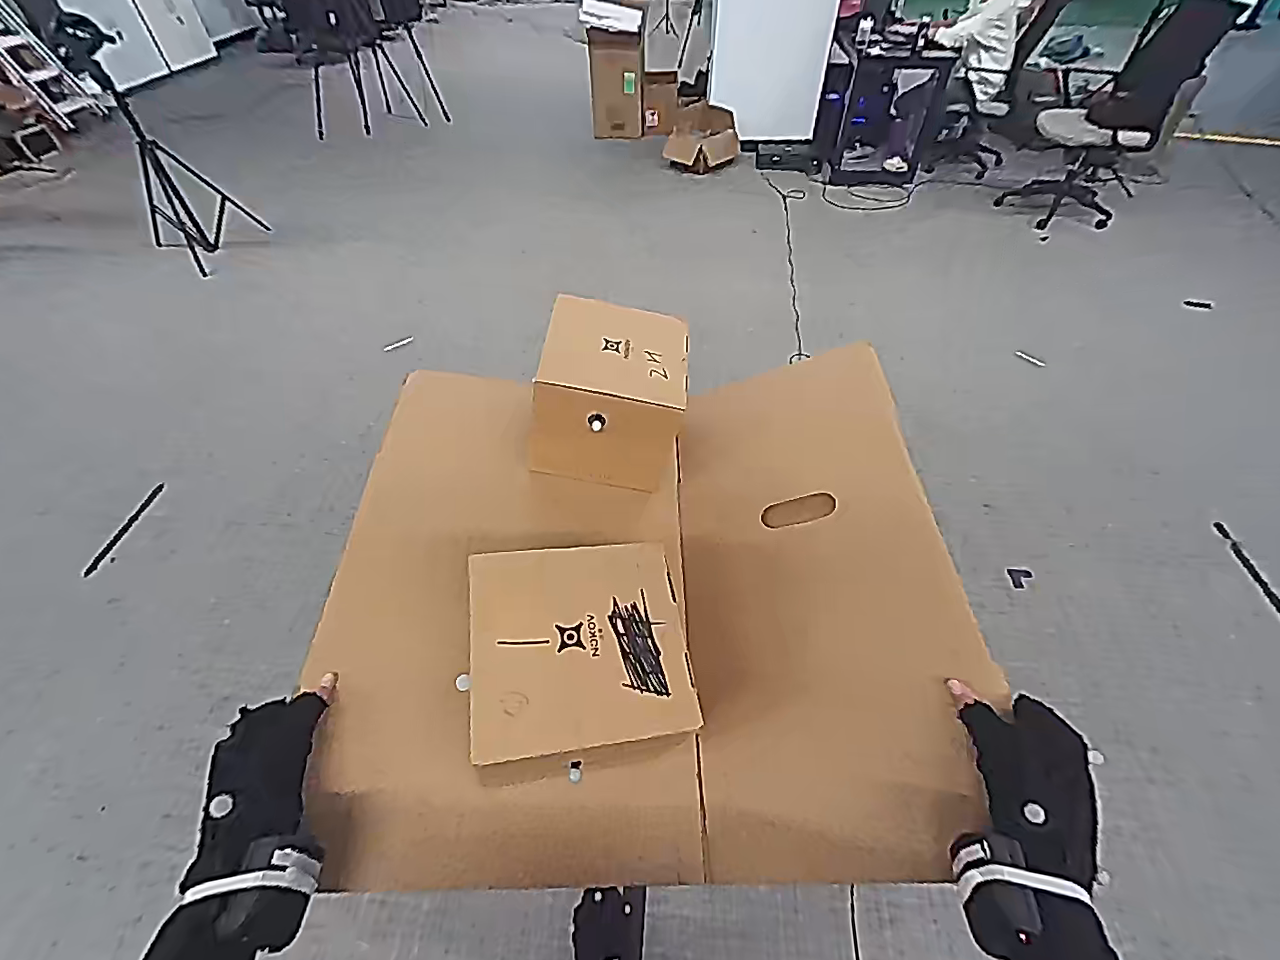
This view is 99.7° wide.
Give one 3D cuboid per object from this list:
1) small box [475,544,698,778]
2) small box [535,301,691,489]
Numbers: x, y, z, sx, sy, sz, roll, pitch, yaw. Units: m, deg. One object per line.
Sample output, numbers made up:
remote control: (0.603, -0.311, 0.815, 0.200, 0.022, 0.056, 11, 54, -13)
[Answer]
small box: (-0.064, 0.175, 0.518, 0.179, 0.176, 0.168, -2, 56, -15)
small box: (-0.040, -0.107, 0.729, 0.179, 0.176, 0.168, 11, 53, -7)
